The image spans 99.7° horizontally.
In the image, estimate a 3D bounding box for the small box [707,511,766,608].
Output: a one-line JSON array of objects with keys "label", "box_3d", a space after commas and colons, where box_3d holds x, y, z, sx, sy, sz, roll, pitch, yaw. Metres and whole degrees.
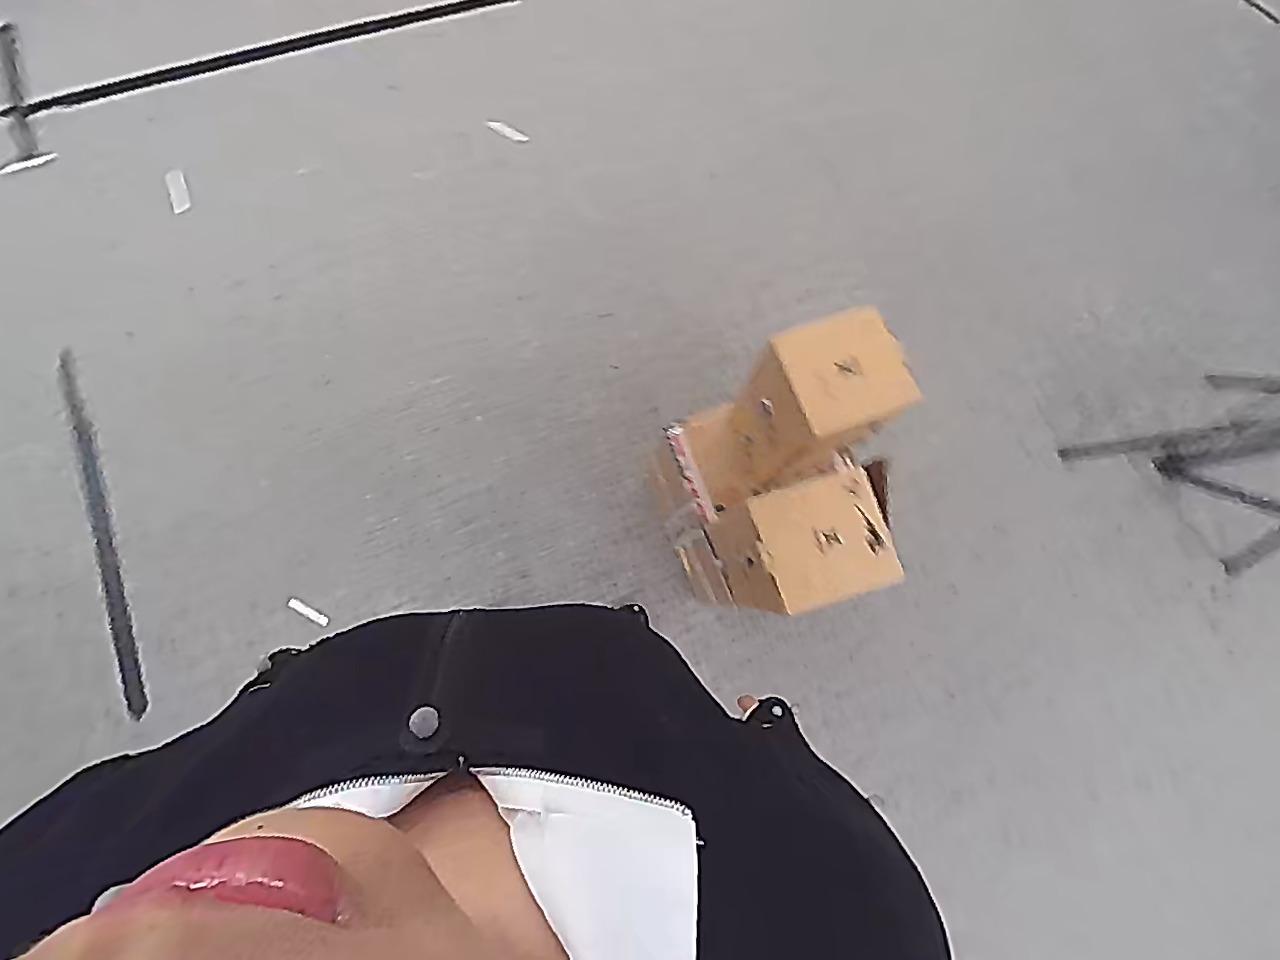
[{"label": "small box", "box_3d": [0.239, 0.121, 0.979, 0.179, 0.176, 0.168, -20, 81, -5]}]

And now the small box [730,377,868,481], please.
[{"label": "small box", "box_3d": [0.291, -0.112, 1.027, 0.179, 0.176, 0.168, -19, 79, -6]}]

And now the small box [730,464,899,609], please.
[{"label": "small box", "box_3d": [0.246, 0.091, 0.818, 0.179, 0.176, 0.168, -16, 80, -5]}]

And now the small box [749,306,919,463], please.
[{"label": "small box", "box_3d": [0.297, -0.144, 0.868, 0.179, 0.176, 0.168, -19, 78, -6]}]
